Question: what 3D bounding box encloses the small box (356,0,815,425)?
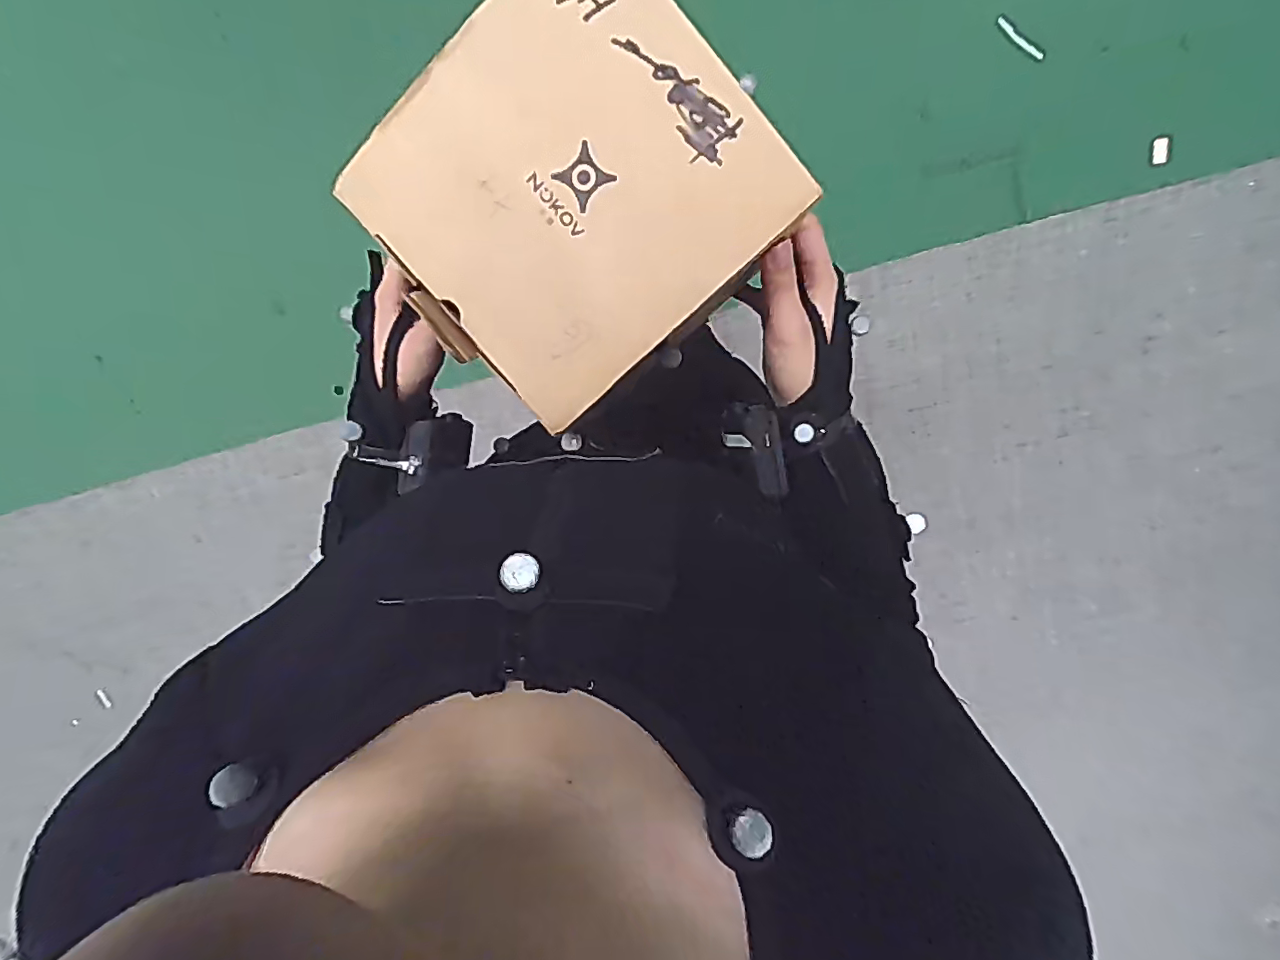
[{"bbox_3d":[-0.023,-0.158,0.344,0.179,0.176,0.168,-40,97,11],"label":"small box"}]
